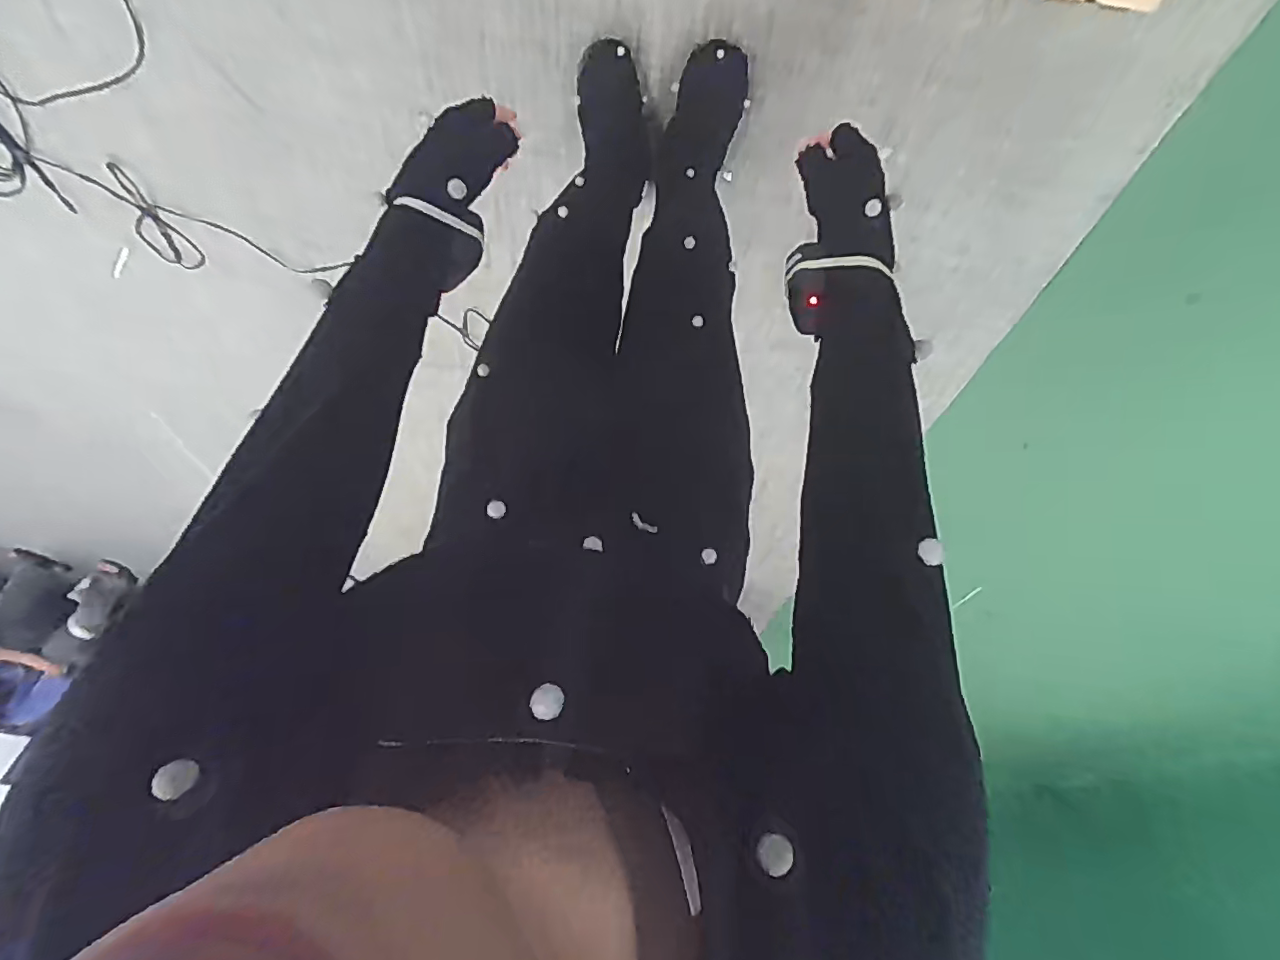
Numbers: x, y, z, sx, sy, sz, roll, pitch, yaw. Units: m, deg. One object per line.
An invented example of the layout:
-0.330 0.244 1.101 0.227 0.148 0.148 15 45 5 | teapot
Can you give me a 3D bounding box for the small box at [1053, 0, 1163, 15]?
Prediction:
0.586 -0.714 0.661 0.168 0.176 0.179 8 143 0 | small box
